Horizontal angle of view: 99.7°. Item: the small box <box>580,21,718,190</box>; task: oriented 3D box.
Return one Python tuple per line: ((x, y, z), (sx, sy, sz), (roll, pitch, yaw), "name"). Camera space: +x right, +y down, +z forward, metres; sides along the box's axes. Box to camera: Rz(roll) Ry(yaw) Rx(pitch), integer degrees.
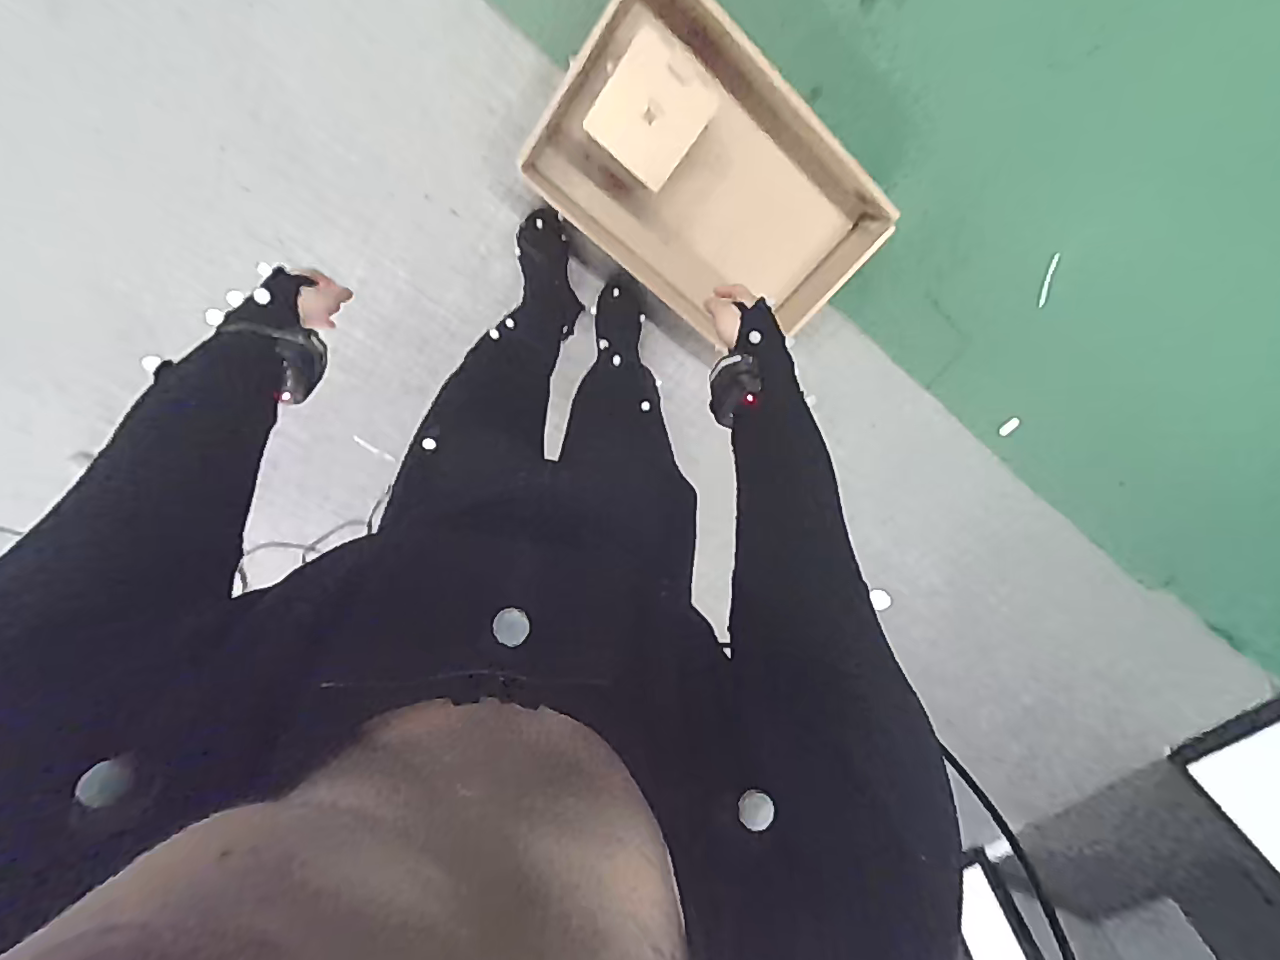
((0.015, -0.653, 0.961), (0.168, 0.176, 0.179), (33, 117, -20), "small box")
